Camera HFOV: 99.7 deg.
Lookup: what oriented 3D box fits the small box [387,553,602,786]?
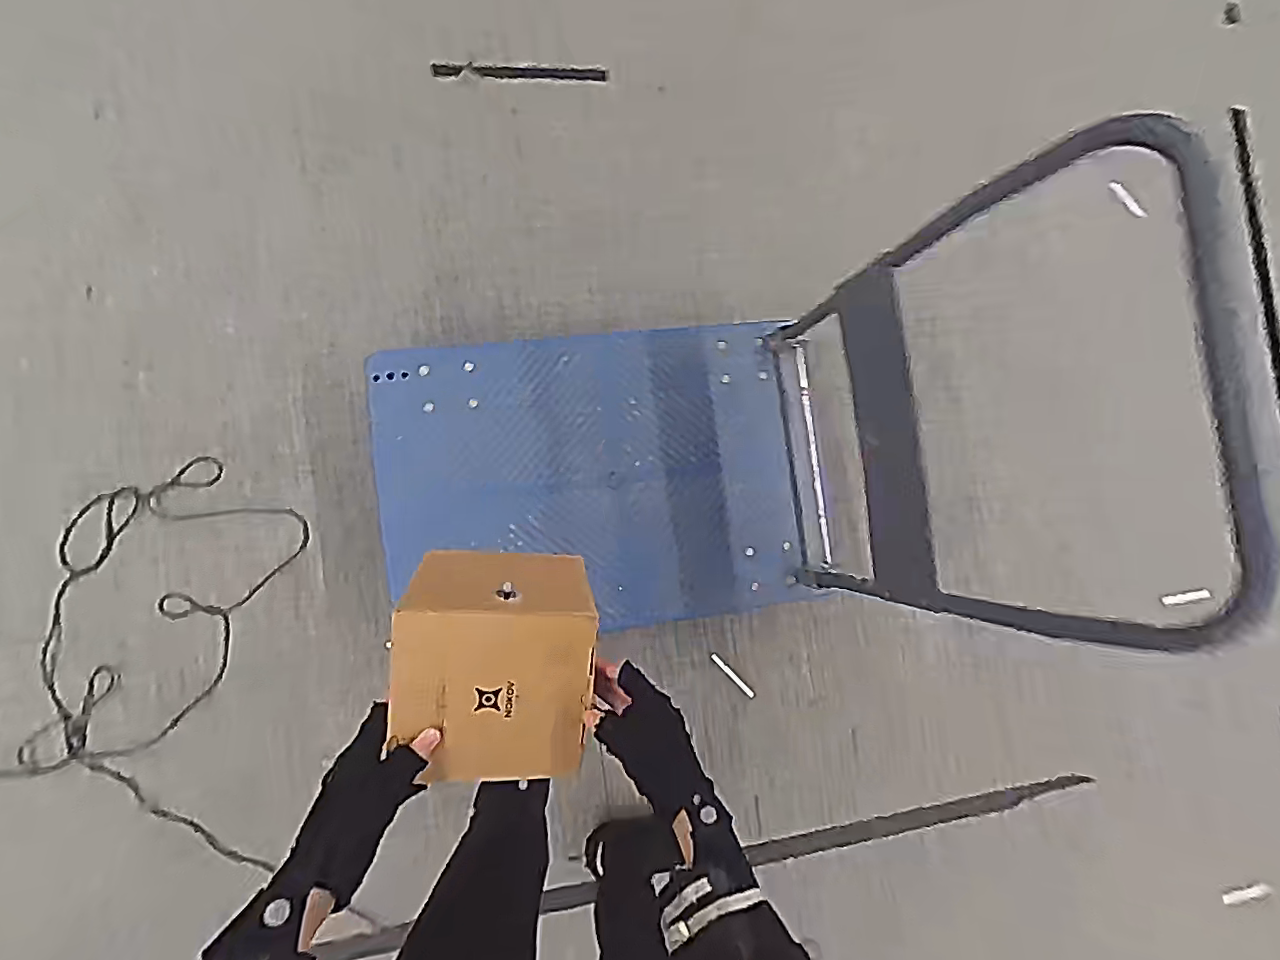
[{"bbox_3d":[-0.143,0.181,0.555,0.179,0.176,0.168,5,100,-12],"label":"small box"}]
